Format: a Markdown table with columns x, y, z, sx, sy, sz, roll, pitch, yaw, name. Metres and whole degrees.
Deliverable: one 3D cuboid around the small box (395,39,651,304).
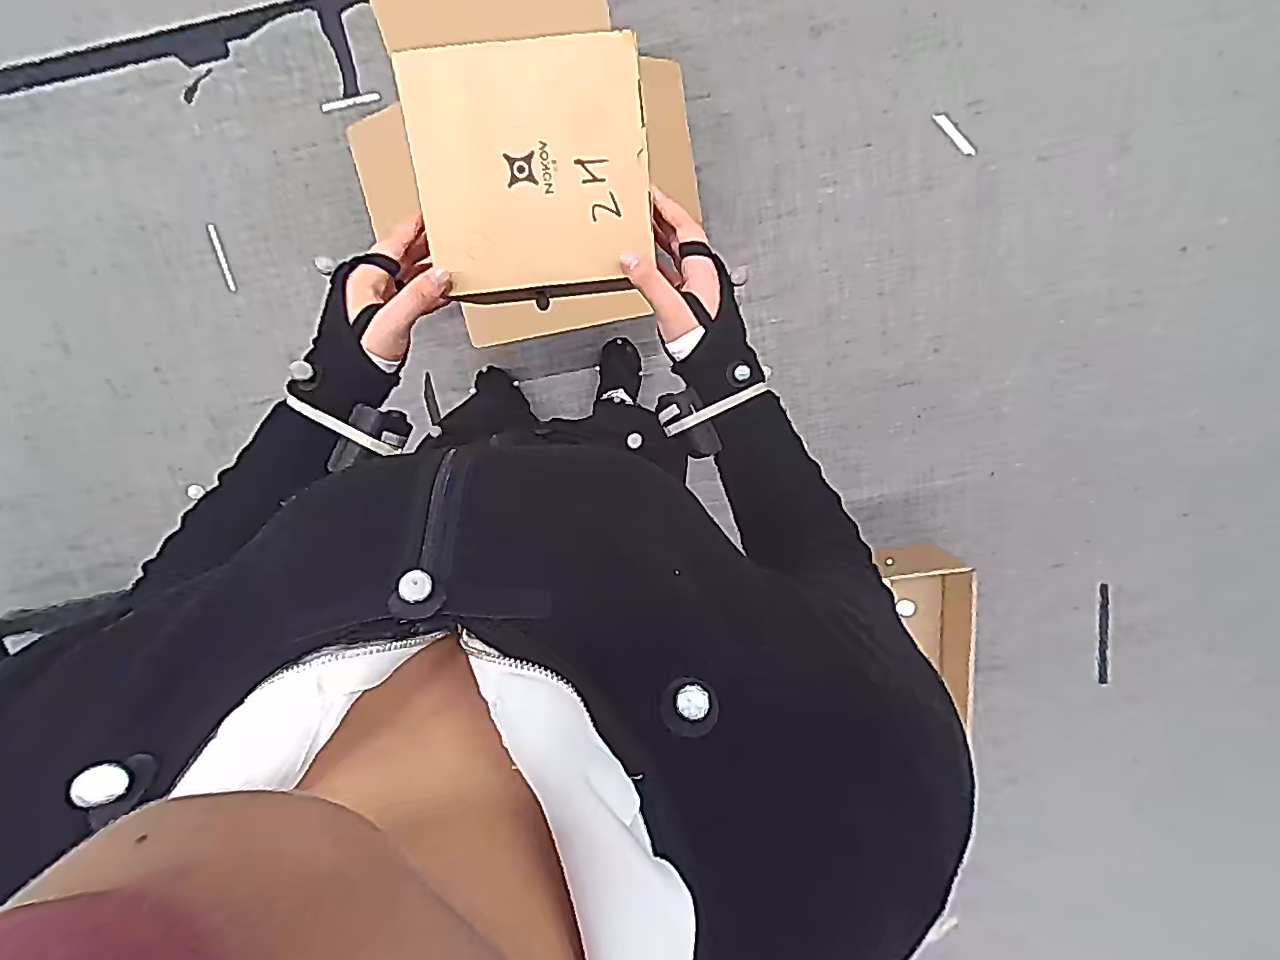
| x | y | z | sx | sy | sz | roll | pitch | yaw | name |
| --- | --- | --- | --- | --- | --- | --- | --- | --- | --- |
| -0.089 | -0.255 | 0.489 | 0.179 | 0.176 | 0.168 | -7 | 106 | -3 | small box |
